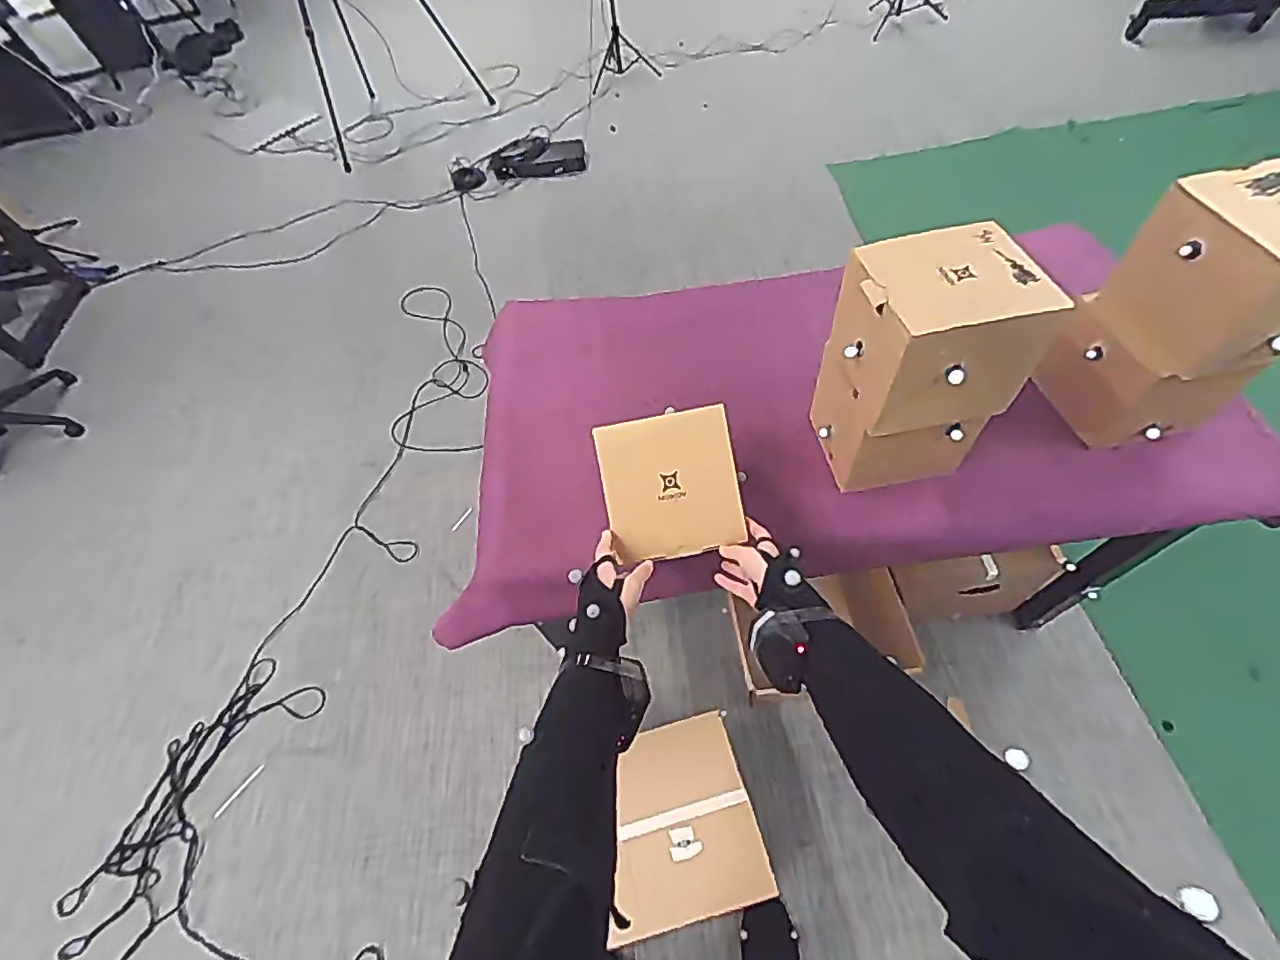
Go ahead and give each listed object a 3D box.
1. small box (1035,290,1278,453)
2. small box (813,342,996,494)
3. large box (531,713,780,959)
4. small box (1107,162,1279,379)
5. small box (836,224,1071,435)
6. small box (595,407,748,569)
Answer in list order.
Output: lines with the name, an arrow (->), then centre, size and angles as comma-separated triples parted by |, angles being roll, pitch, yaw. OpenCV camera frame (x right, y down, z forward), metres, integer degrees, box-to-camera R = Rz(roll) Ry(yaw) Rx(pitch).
small box -> 0.735, -0.166, 0.792 | 0.168, 0.176, 0.179 | -12, 55, 2
small box -> 0.374, -0.099, 0.801 | 0.179, 0.176, 0.168 | -10, 54, 2
large box -> 0.027, 0.724, 1.107 | 0.408, 0.320, 0.320 | -15, 55, -3
small box -> 0.731, -0.251, 0.651 | 0.168, 0.176, 0.179 | -12, 55, 2
small box -> 0.352, -0.175, 0.656 | 0.179, 0.176, 0.168 | -11, 55, 2
small box -> 0.037, 0.009, 0.736 | 0.168, 0.176, 0.179 | -11, 91, 0
